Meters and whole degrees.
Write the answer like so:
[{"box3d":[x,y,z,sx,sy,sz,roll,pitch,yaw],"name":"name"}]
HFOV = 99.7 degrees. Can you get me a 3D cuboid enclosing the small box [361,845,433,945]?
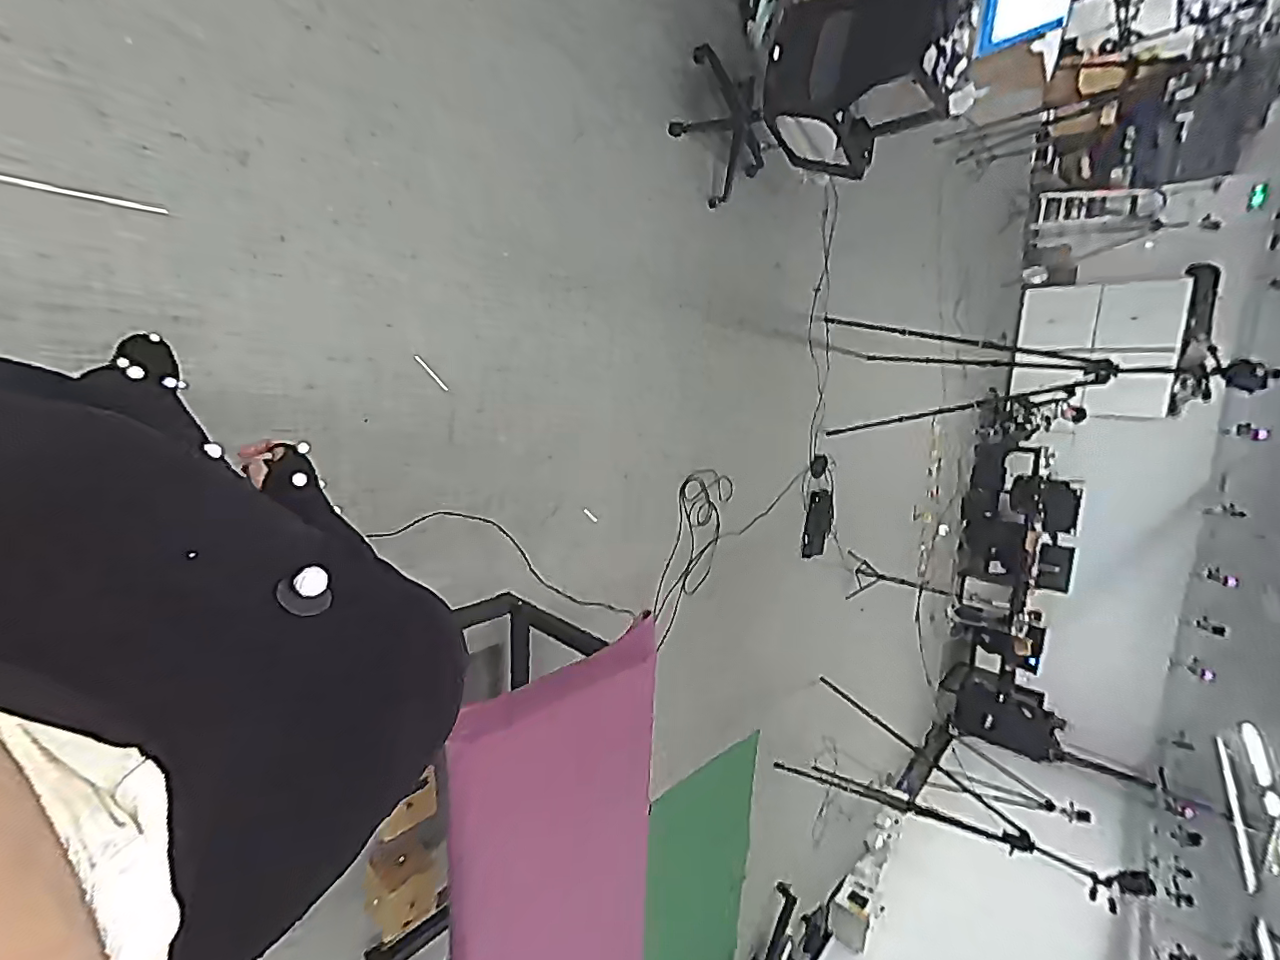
[{"box3d":[-0.802,1.346,1.776,0.168,0.176,0.179,-3,100,-47],"name":"small box"}]
